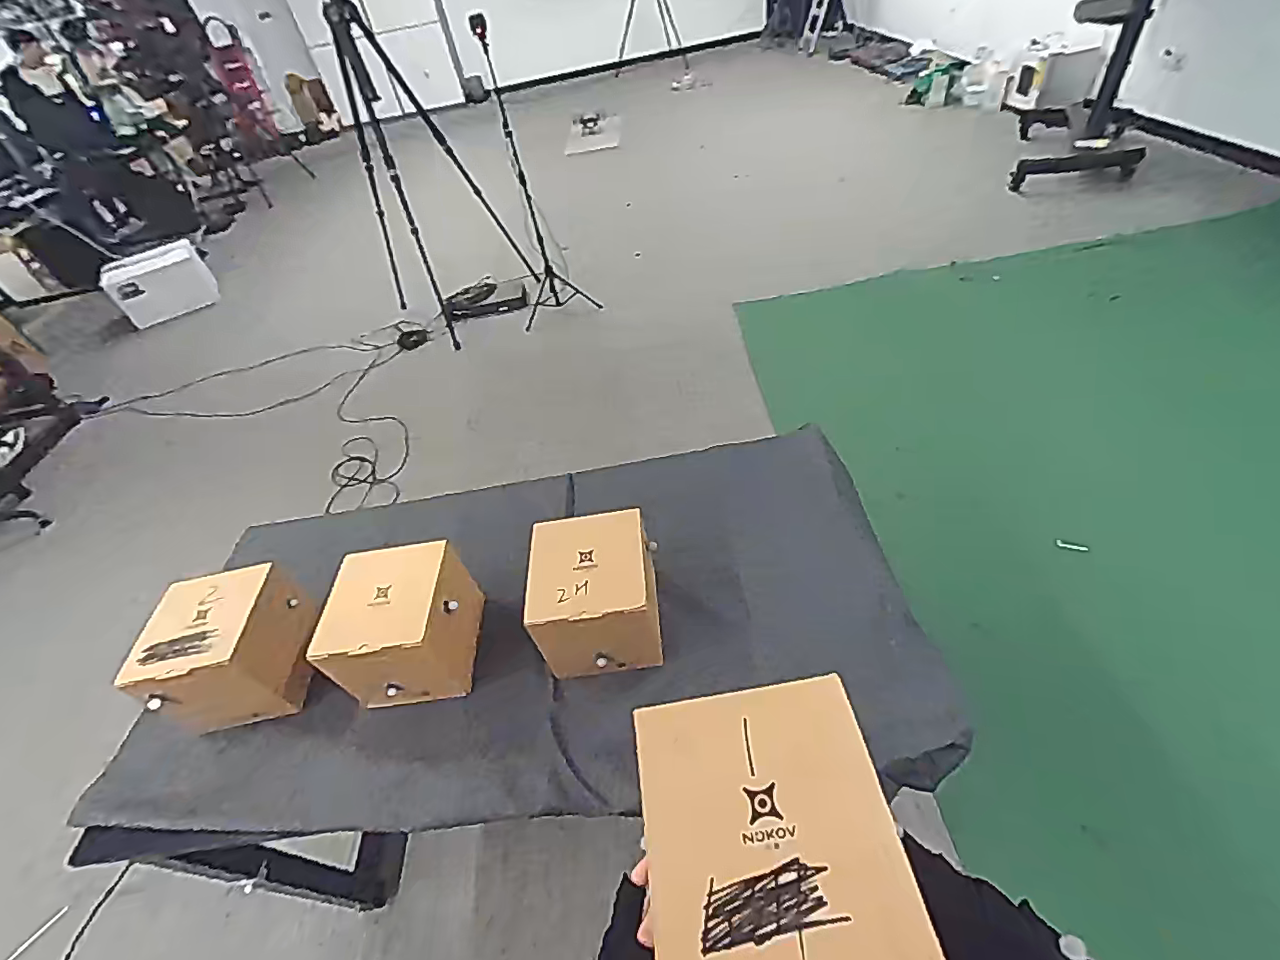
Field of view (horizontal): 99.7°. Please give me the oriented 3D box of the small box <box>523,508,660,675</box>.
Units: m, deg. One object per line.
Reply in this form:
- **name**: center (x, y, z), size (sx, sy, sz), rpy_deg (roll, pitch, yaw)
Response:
- **small box**: center (-0.065, 0.168, 0.814), size (0.168, 0.176, 0.179), rpy_deg (-8, 46, 4)

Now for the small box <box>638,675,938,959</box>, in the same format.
- **small box**: center (0.099, 0.281, 0.426), size (0.168, 0.176, 0.179), rpy_deg (-10, 47, 3)

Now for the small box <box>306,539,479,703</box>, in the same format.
- **small box**: center (-0.359, 0.217, 0.829), size (0.168, 0.176, 0.179), rpy_deg (-8, 46, 3)
